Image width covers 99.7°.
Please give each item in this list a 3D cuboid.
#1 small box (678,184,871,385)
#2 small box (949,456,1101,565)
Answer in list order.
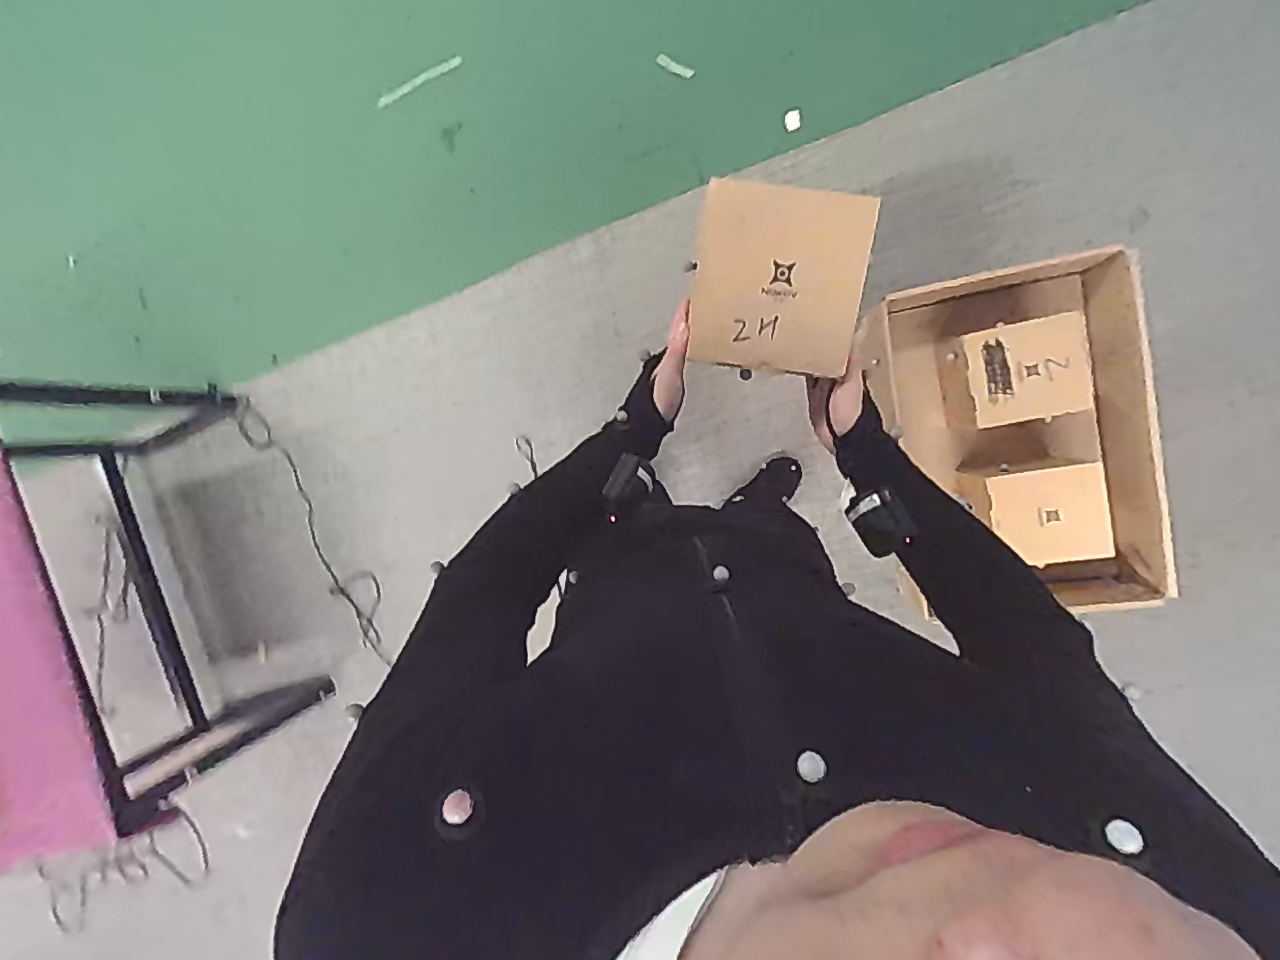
[{"bbox_3d":[0.136,-0.212,0.619,0.168,0.176,0.179,7,105,0],"label":"small box"},{"bbox_3d":[0.713,0.051,1.019,0.179,0.176,0.168,-9,94,14],"label":"small box"}]
